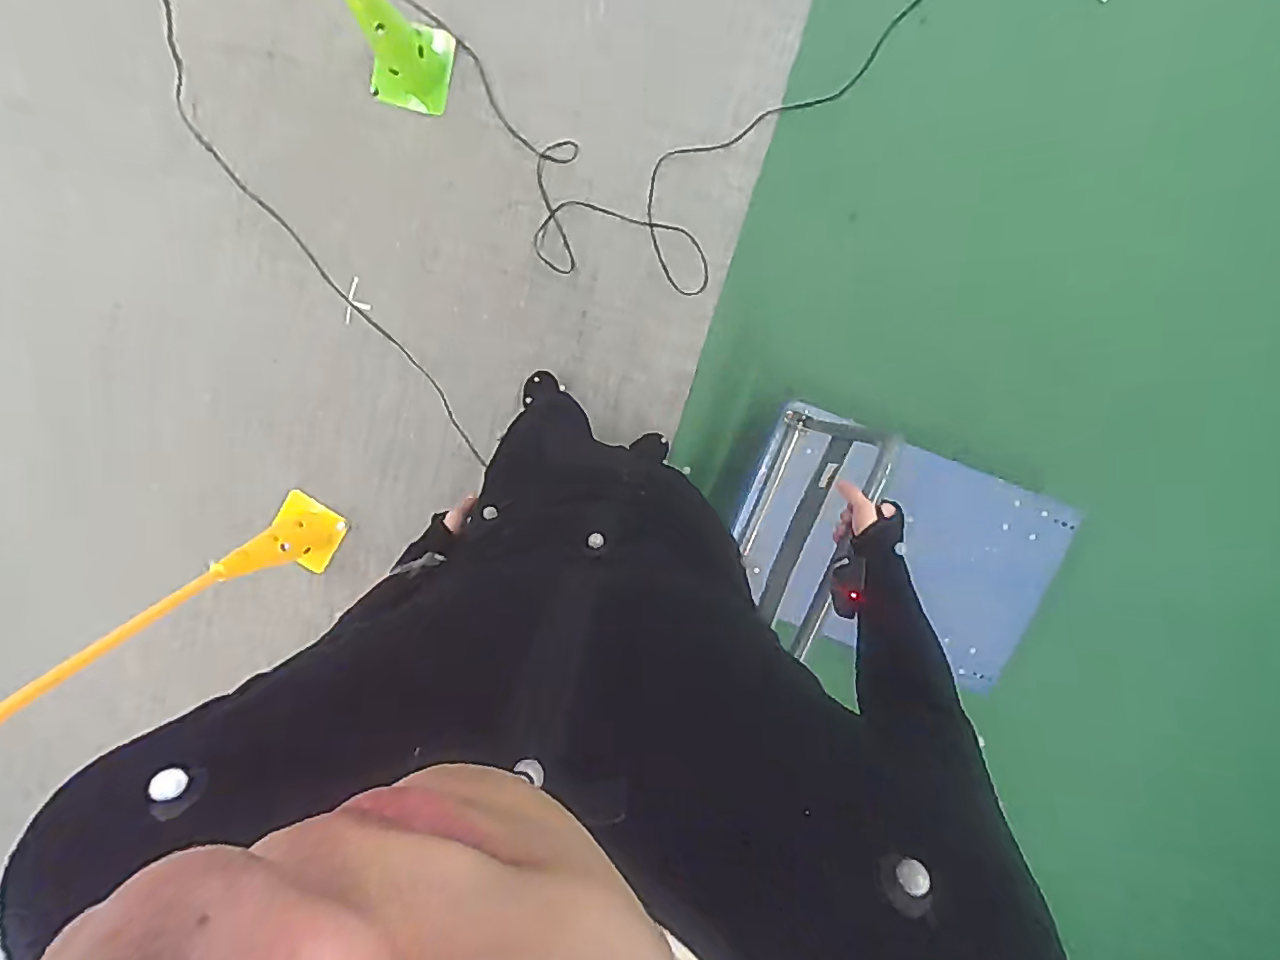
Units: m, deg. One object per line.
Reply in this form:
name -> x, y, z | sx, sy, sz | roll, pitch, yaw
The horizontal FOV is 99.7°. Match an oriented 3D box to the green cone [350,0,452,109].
green cone -> -0.596, -1.055, 1.229 | 0.200, 0.368, 0.202 | 13, 99, -2
